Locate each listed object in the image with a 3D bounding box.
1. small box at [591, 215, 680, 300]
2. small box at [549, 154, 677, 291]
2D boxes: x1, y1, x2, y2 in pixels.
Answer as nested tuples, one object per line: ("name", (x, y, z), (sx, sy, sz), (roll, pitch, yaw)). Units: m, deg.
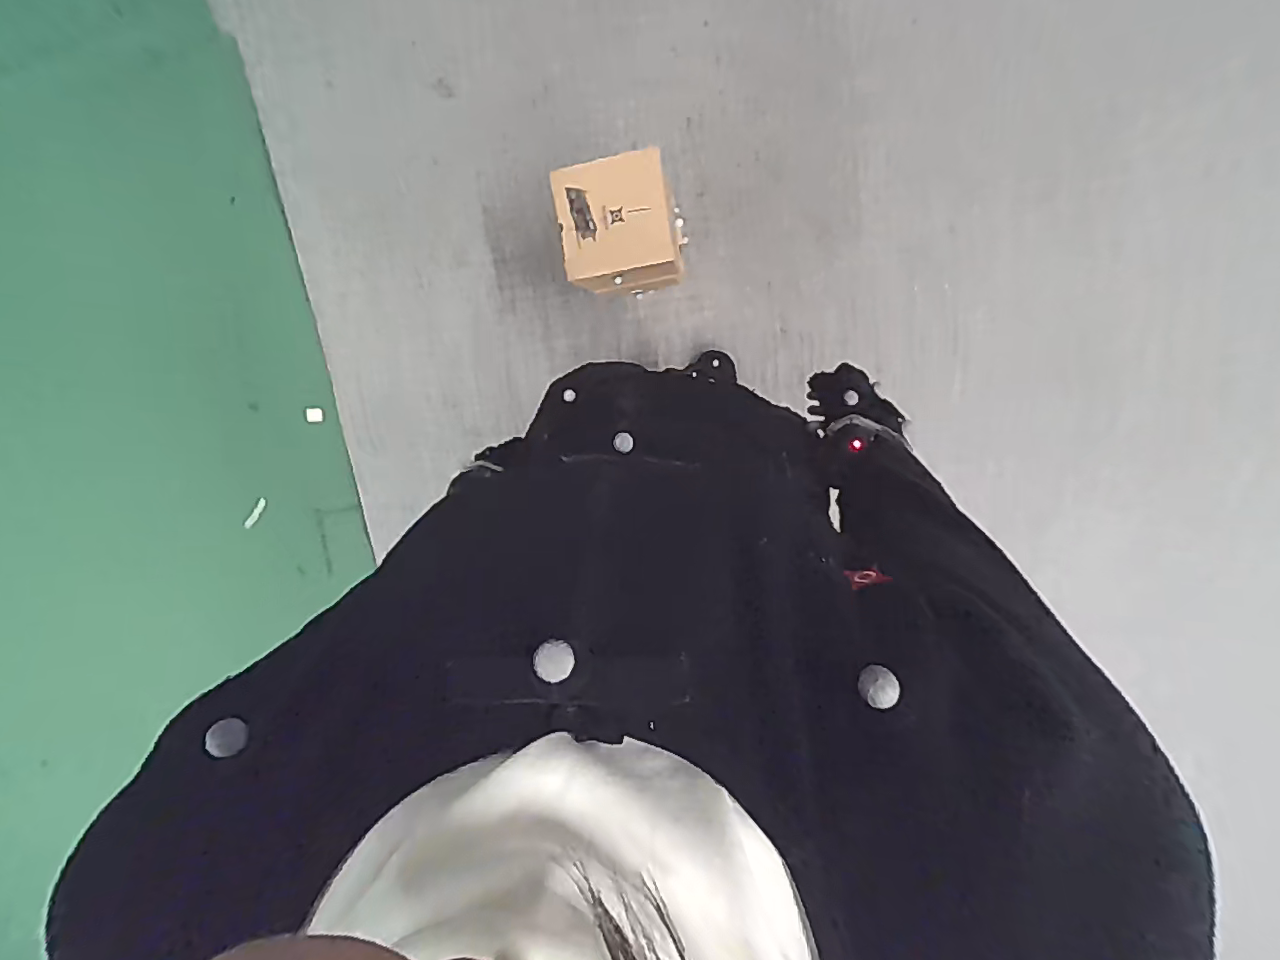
("small box", (-0.017, -0.468, 1.078), (0.168, 0.176, 0.179), (-8, 104, 11))
("small box", (-0.037, -0.431, 0.937), (0.179, 0.176, 0.168), (-7, 104, 10))
